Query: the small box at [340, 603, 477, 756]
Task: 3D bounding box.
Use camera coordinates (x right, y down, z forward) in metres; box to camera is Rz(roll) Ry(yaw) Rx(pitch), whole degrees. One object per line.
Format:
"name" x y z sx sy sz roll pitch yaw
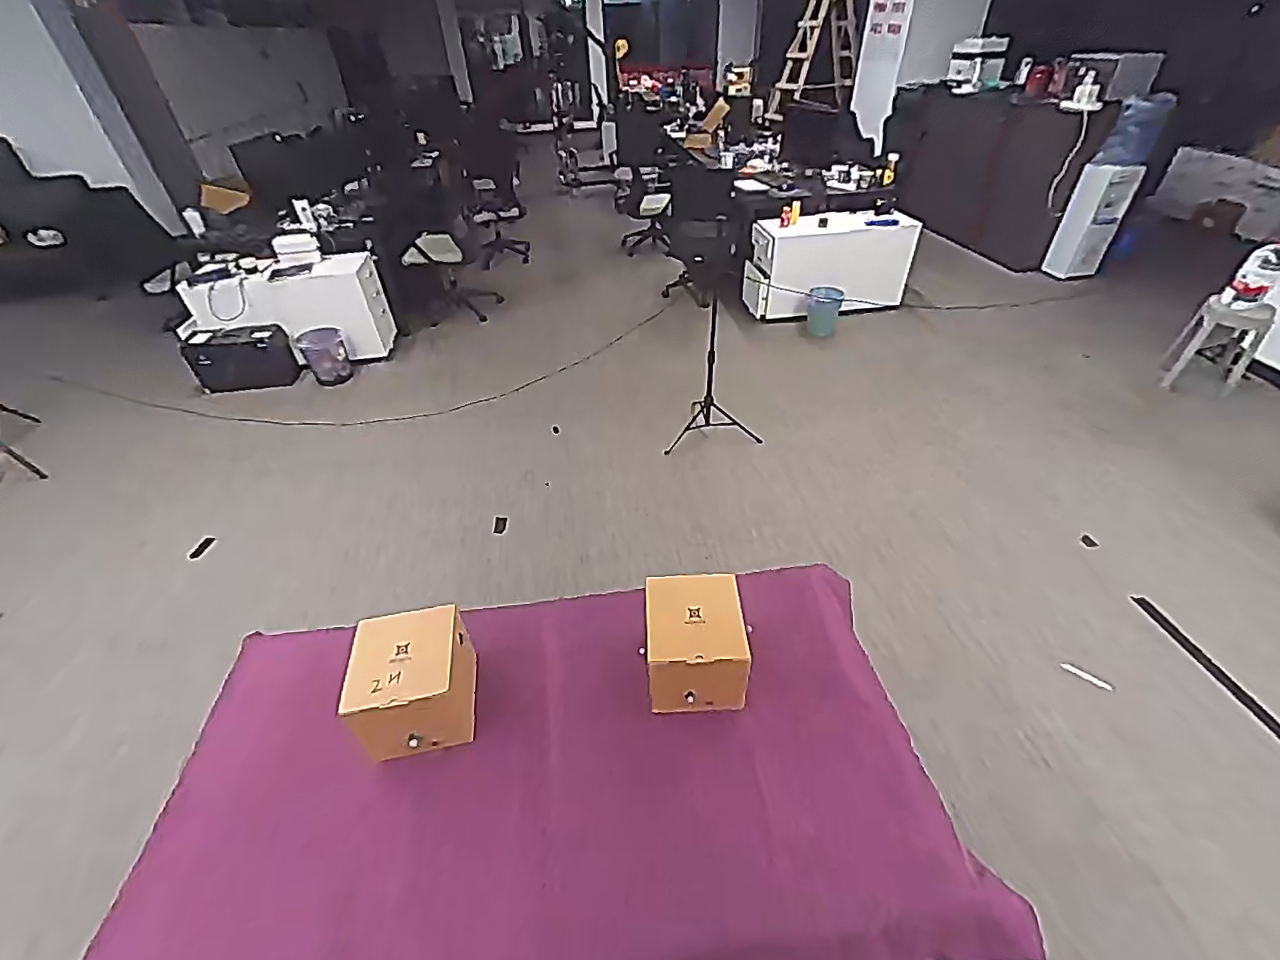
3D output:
"small box" -0.385 0.344 0.938 0.168 0.176 0.179 -9 40 -7

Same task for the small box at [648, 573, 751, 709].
"small box" 0.098 0.290 0.977 0.168 0.176 0.179 -3 41 1
